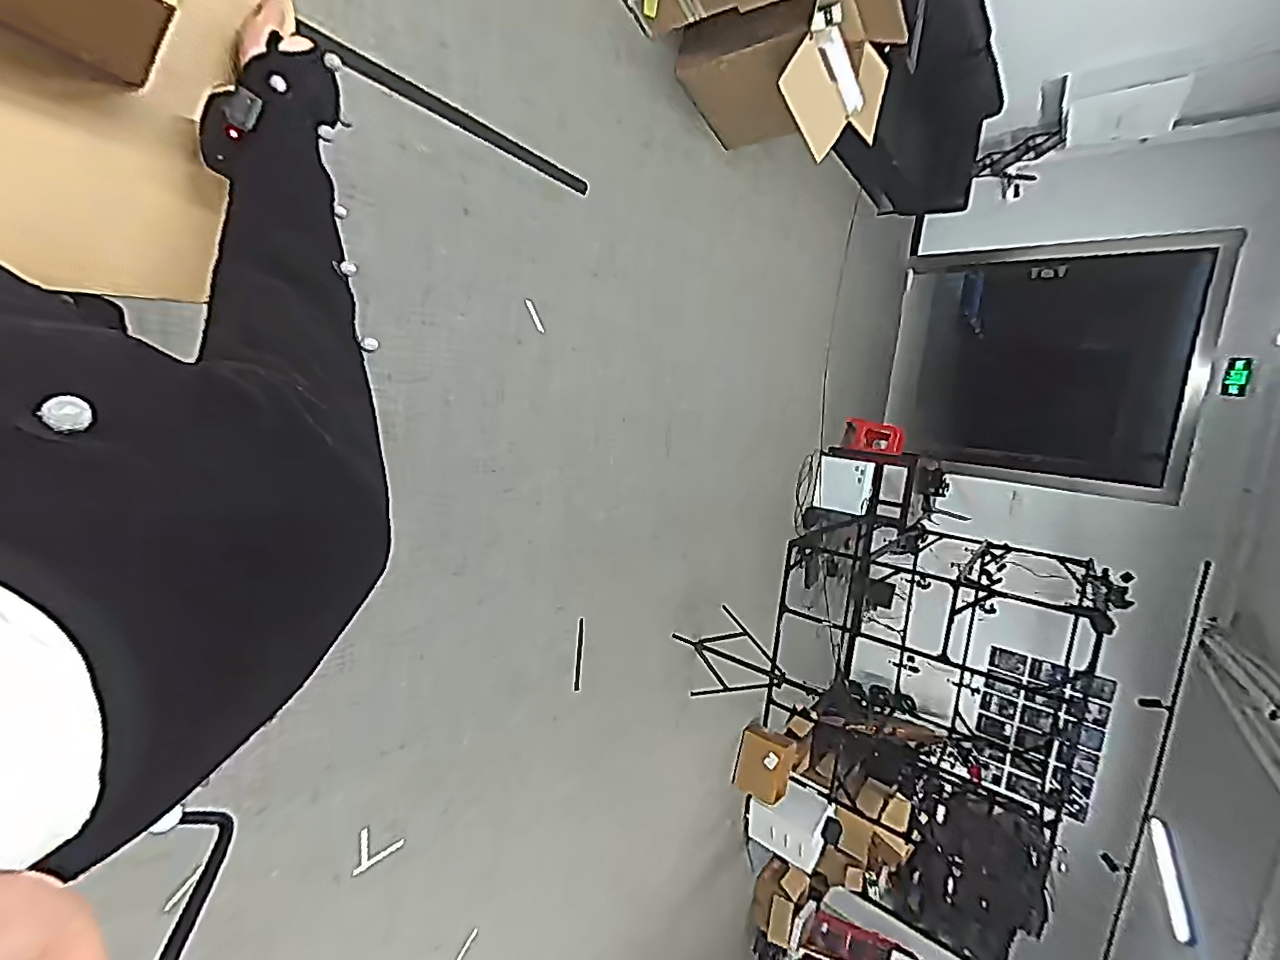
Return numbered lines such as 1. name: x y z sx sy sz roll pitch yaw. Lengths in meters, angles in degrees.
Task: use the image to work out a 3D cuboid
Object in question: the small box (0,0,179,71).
1. small box: -0.421 -0.429 0.364 0.179 0.176 0.168 7 93 -48
